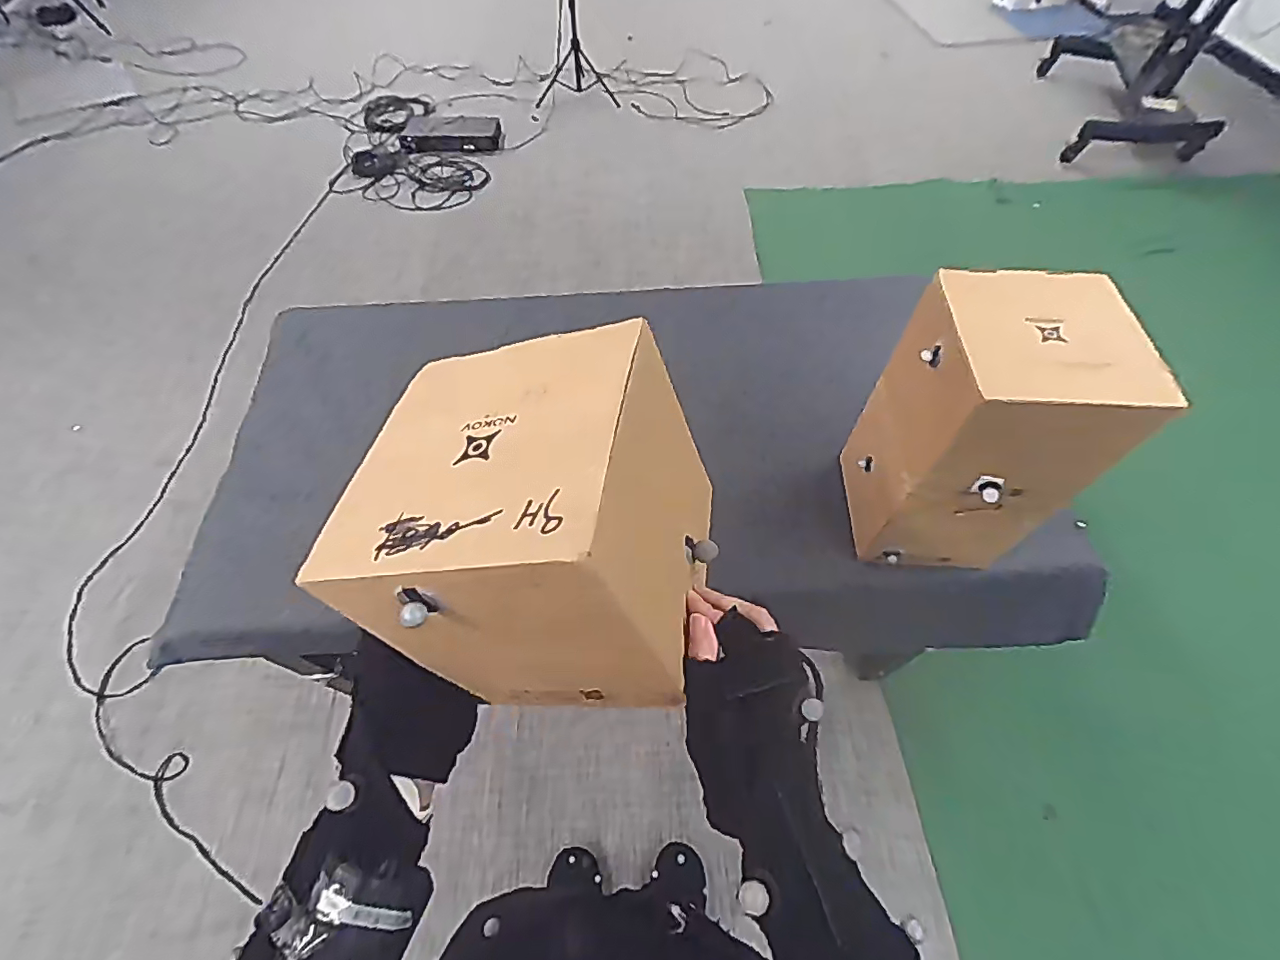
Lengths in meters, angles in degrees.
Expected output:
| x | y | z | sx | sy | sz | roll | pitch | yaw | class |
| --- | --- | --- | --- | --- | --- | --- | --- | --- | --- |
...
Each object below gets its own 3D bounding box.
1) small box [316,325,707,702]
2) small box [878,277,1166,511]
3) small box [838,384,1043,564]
| x | y | z | sx | sy | sz | roll | pitch | yaw | class |
| --- | --- | --- | --- | --- | --- | --- | --- | --- | --- |
| -0.056 | 0.027 | 0.363 | 0.168 | 0.176 | 0.179 | -7 | 47 | 20 | small box |
| 0.370 | -0.087 | 0.570 | 0.168 | 0.176 | 0.179 | 3 | 58 | 3 | small box |
| 0.373 | -0.003 | 0.708 | 0.168 | 0.176 | 0.179 | 3 | 56 | 2 | small box |
